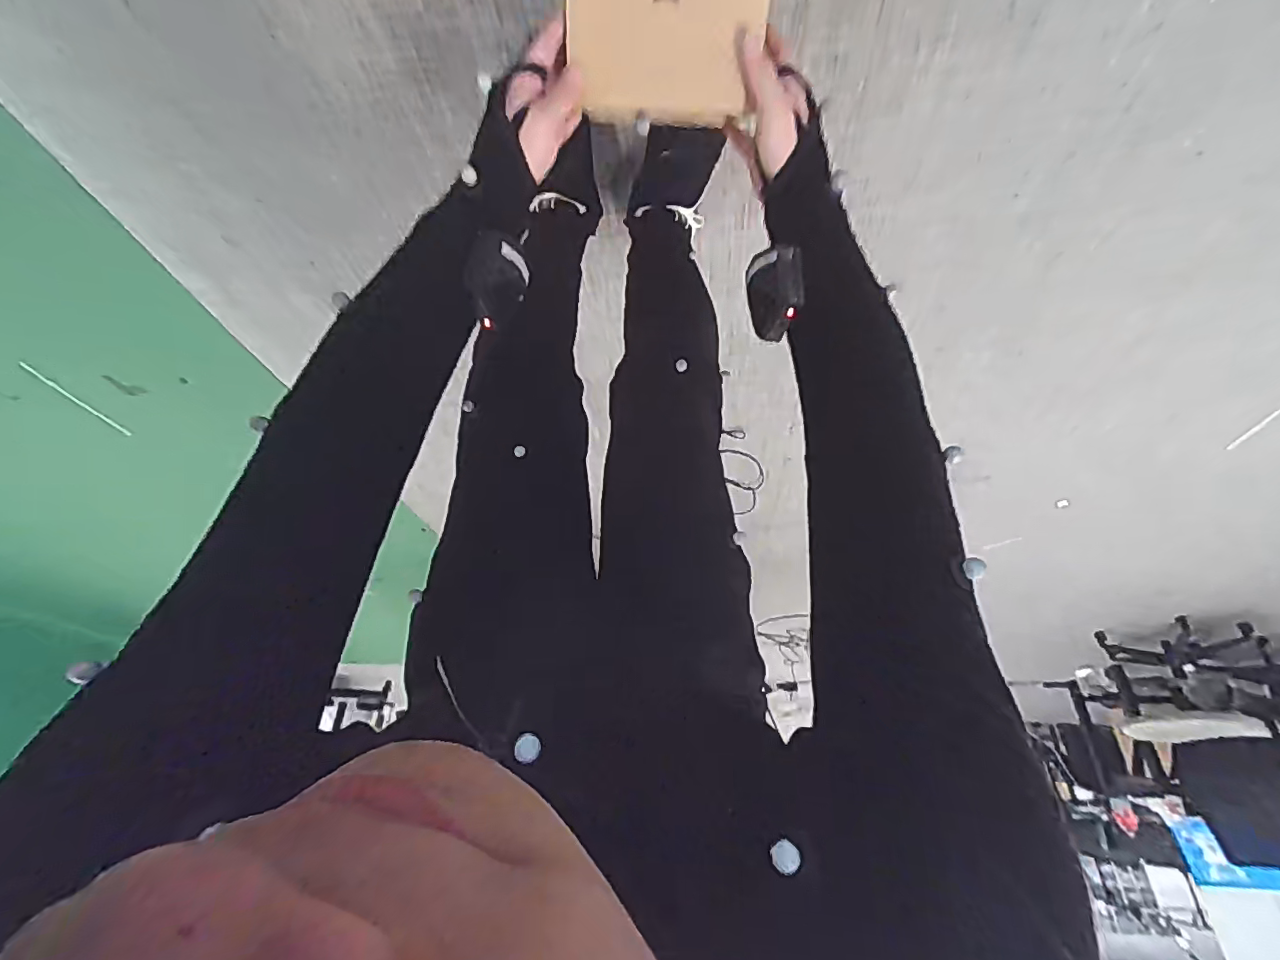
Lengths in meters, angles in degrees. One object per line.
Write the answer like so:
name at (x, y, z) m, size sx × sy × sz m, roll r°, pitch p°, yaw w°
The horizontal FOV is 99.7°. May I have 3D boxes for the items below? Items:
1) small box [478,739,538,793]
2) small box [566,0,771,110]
small box at (-0.494, 1.089, 2.054) m, size 0.168 × 0.176 × 0.179 m, roll -2°, pitch 149°, yaw 5°
small box at (0.032, -0.440, 0.479) m, size 0.168 × 0.176 × 0.179 m, roll 5°, pitch 121°, yaw 3°
